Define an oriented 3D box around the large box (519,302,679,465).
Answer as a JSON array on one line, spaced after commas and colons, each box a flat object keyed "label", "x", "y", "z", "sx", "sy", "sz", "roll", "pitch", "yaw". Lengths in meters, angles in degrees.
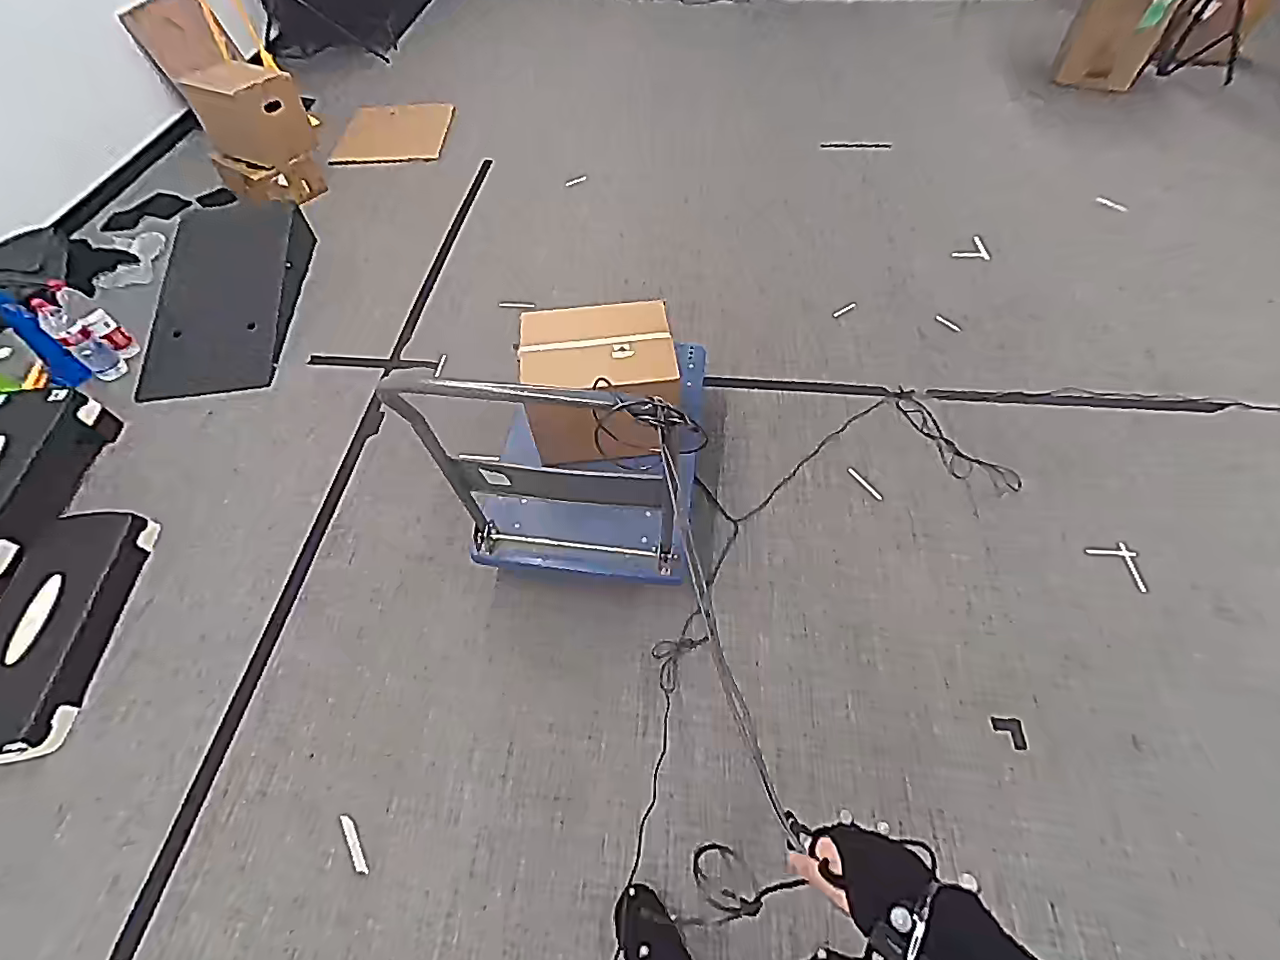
[{"label": "large box", "x": -0.116, "y": -0.270, "z": 1.542, "sx": 0.408, "sy": 0.320, "sz": 0.320, "roll": -6, "pitch": 57, "yaw": -3}]
